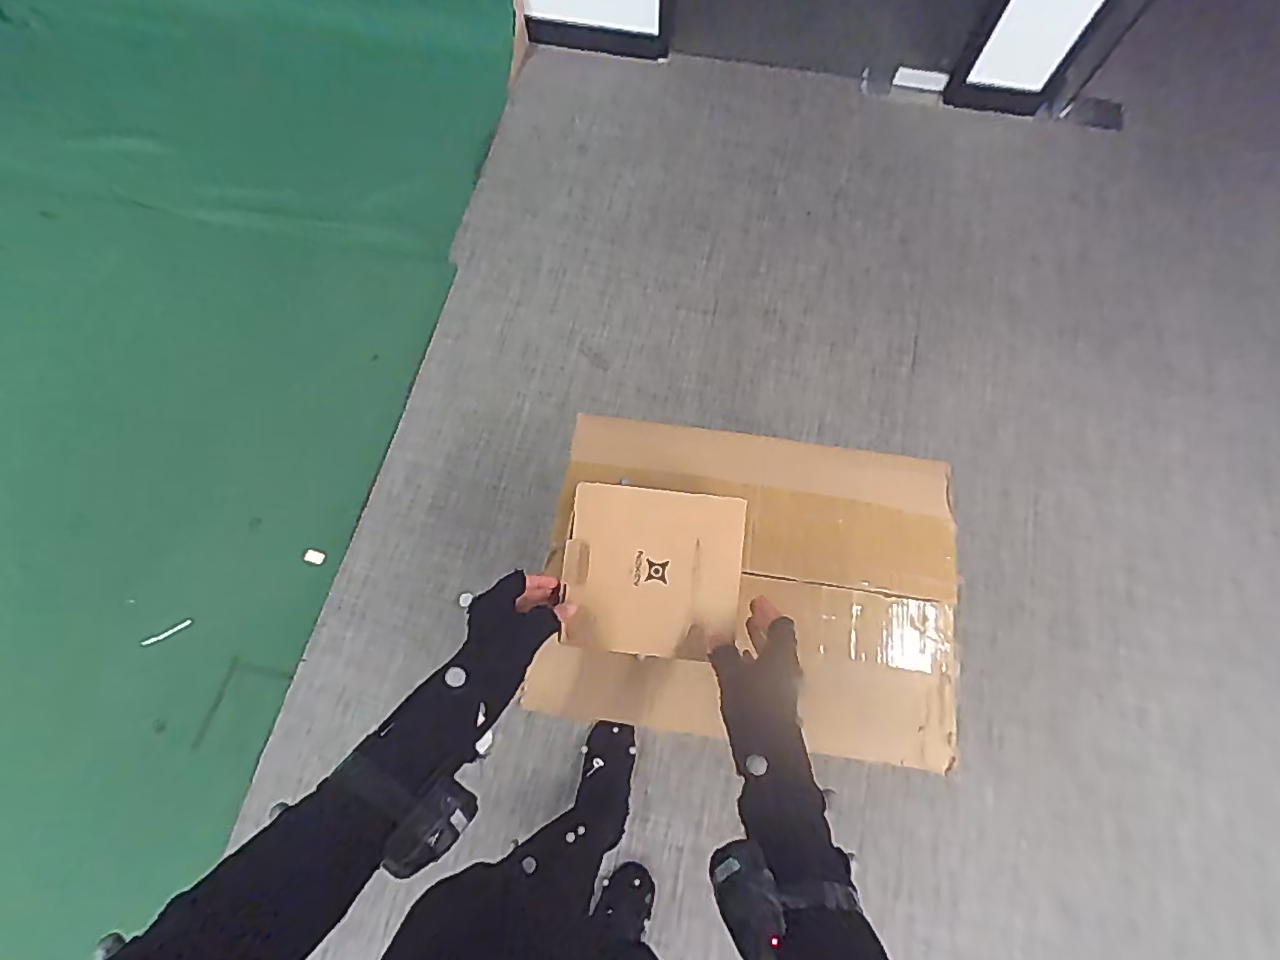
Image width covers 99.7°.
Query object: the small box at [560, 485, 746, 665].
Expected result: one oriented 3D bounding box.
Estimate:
[{"bbox_3d":[0.016,0.102,0.621,0.179,0.176,0.168,5,85,1],"label":"small box"}]
